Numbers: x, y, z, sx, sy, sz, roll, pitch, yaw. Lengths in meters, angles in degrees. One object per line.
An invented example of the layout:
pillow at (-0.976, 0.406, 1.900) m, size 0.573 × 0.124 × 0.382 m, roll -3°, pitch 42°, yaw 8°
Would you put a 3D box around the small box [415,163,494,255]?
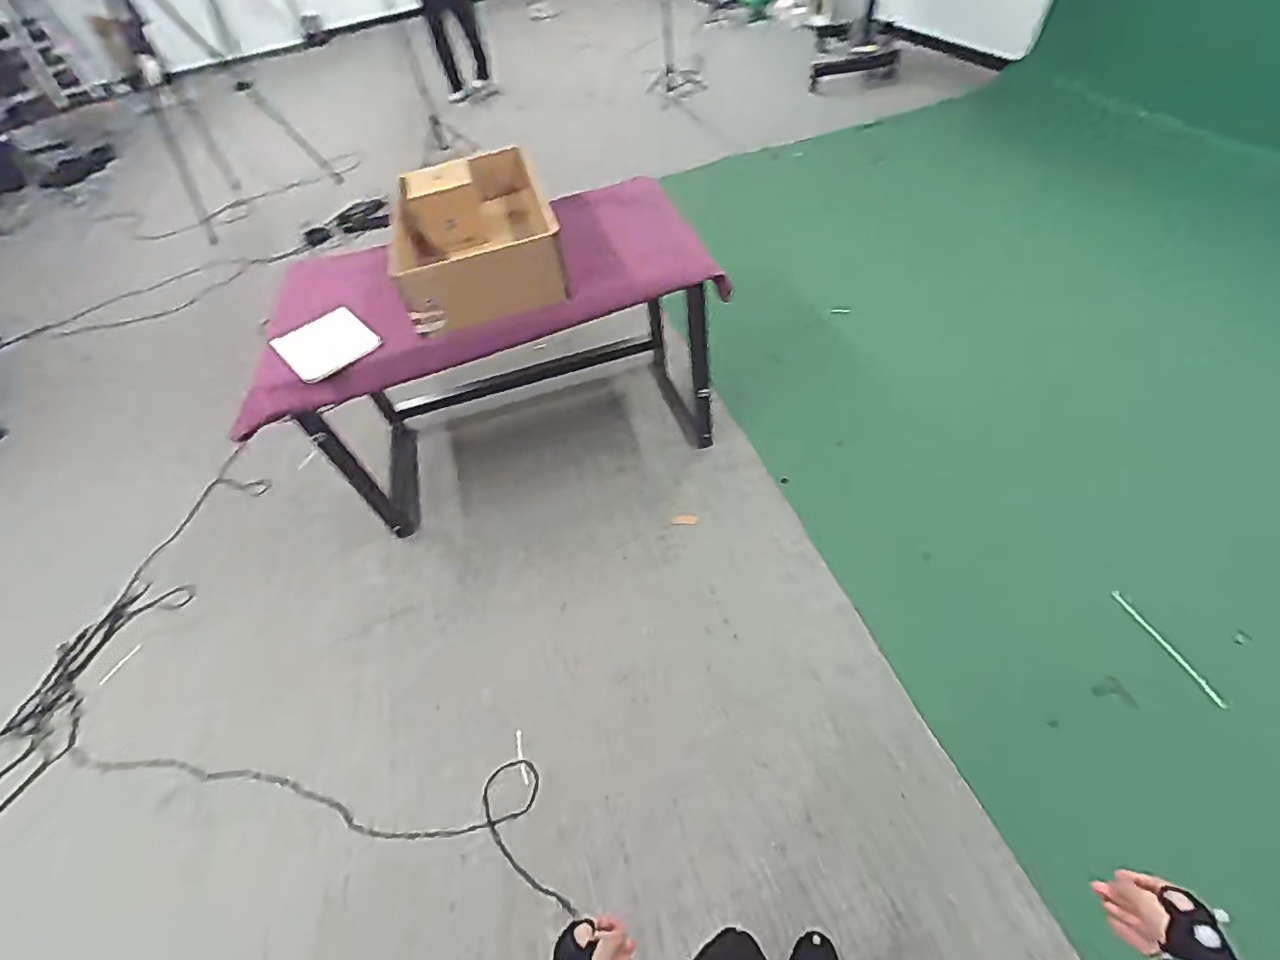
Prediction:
small box at (-0.528, -0.770, 1.552) m, size 0.168 × 0.176 × 0.179 m, roll -17°, pitch 52°, yaw -4°
